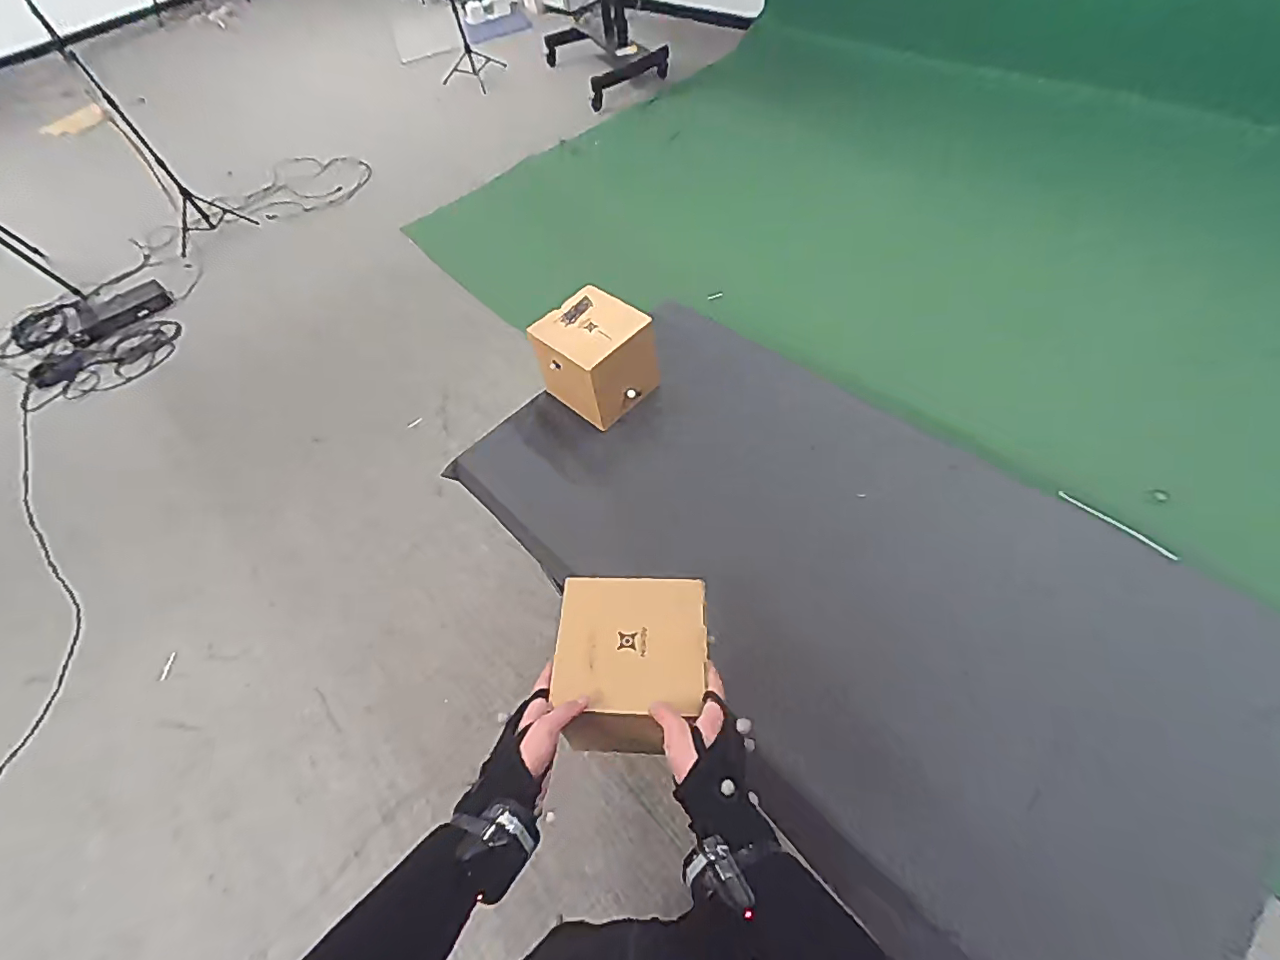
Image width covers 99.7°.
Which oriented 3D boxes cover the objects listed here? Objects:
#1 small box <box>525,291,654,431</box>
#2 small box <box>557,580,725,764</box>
[{"bbox_3d":[-0.090,-0.225,1.040,0.179,0.176,0.168,36,65,25],"label":"small box"},{"bbox_3d":[0.005,0.238,0.666,0.179,0.176,0.168,-1,48,3],"label":"small box"}]
